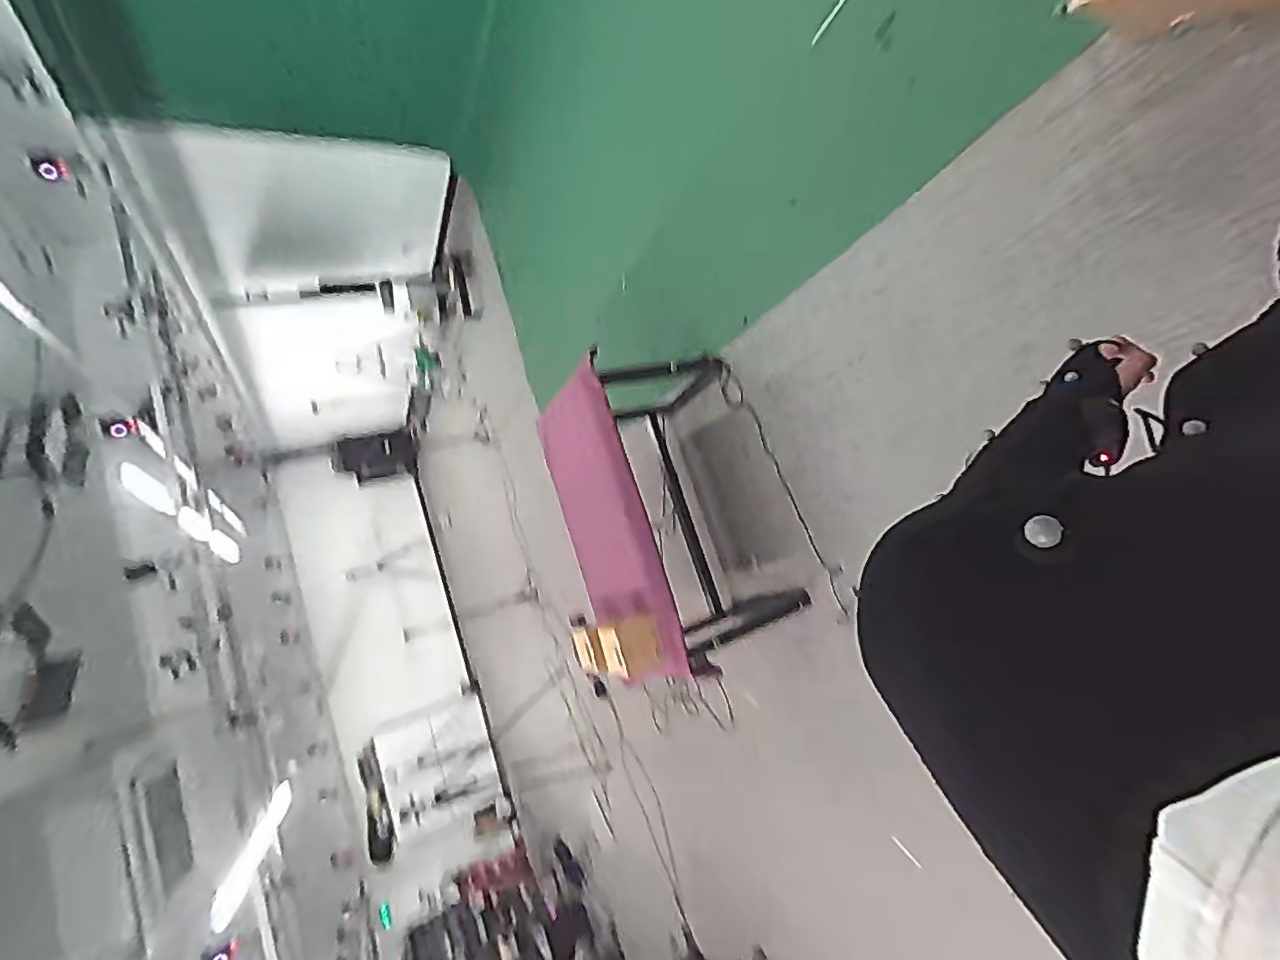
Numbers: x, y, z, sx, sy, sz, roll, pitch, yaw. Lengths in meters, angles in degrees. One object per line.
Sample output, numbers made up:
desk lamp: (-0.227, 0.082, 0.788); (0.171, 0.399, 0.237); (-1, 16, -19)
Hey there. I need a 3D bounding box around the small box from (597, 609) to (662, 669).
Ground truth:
small box: (-0.033, 0.586, 2.010); (0.179, 0.176, 0.168); (-26, 80, 61)
